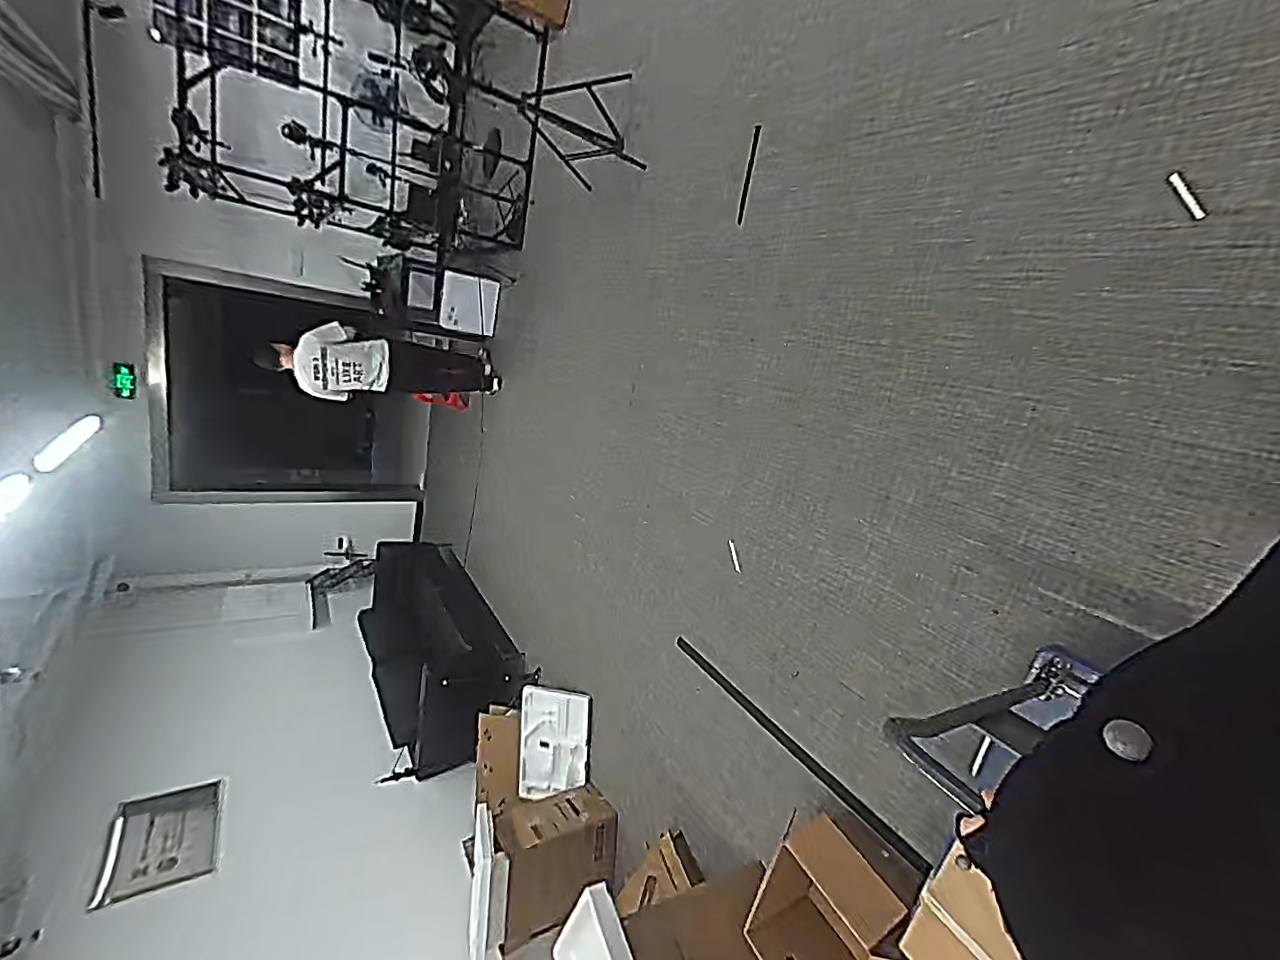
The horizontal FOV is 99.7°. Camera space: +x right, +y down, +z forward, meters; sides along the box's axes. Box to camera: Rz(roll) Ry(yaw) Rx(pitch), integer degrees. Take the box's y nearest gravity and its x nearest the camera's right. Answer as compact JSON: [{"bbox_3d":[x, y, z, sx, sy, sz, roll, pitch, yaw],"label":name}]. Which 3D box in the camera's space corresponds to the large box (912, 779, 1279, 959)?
[{"bbox_3d":[0.803,0.850,0.980,0.408,0.320,0.320,35,118,50],"label":"large box"}]
